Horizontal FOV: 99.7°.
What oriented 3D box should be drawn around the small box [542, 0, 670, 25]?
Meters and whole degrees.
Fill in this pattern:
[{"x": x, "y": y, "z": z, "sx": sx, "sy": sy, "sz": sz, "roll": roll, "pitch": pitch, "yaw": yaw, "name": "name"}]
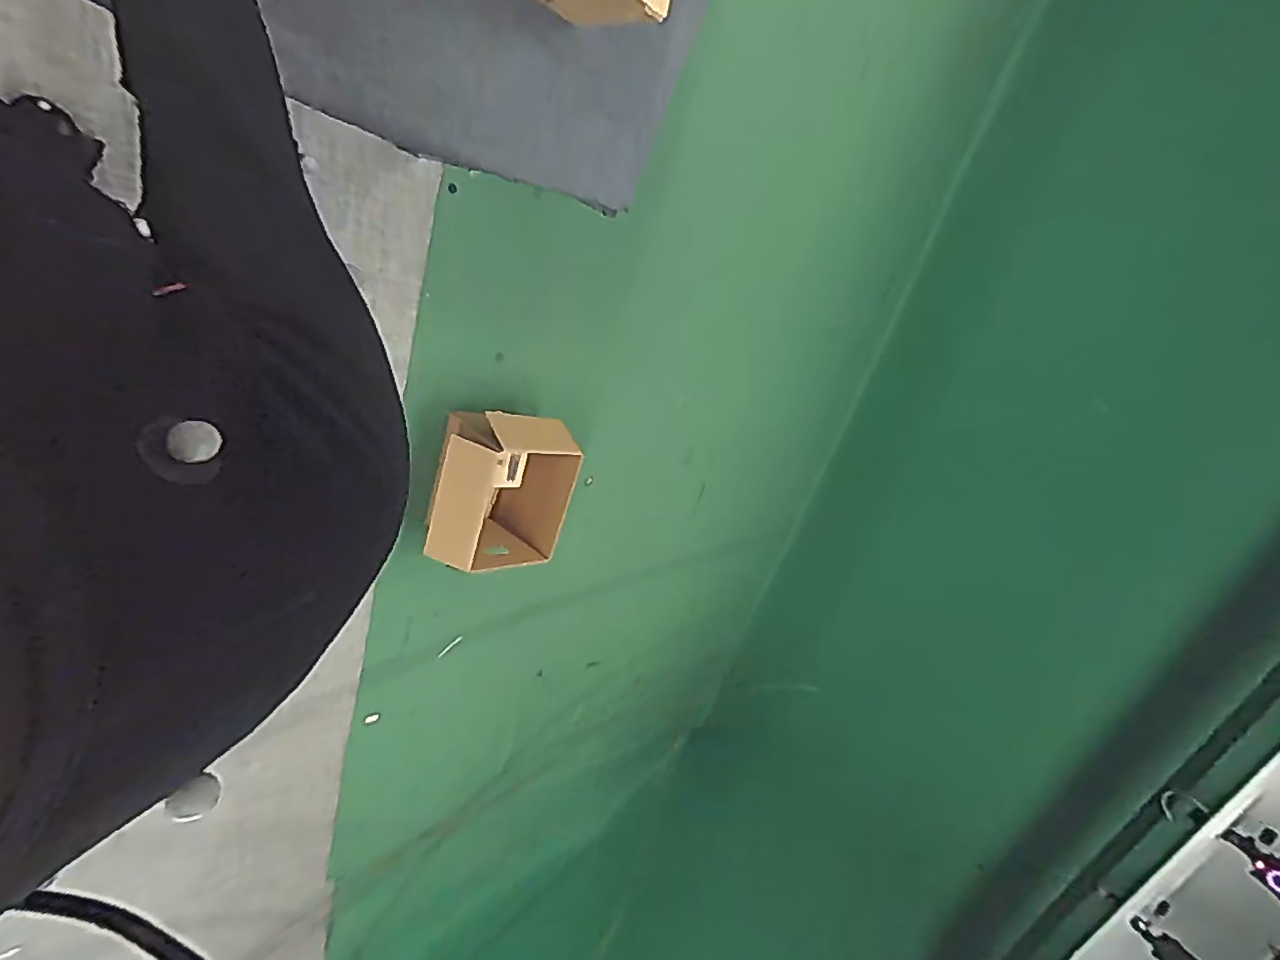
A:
[{"x": -0.058, "y": -0.621, "z": 0.570, "sx": 0.168, "sy": 0.176, "sz": 0.179, "roll": -6, "pitch": 120, "yaw": -47, "name": "small box"}]
